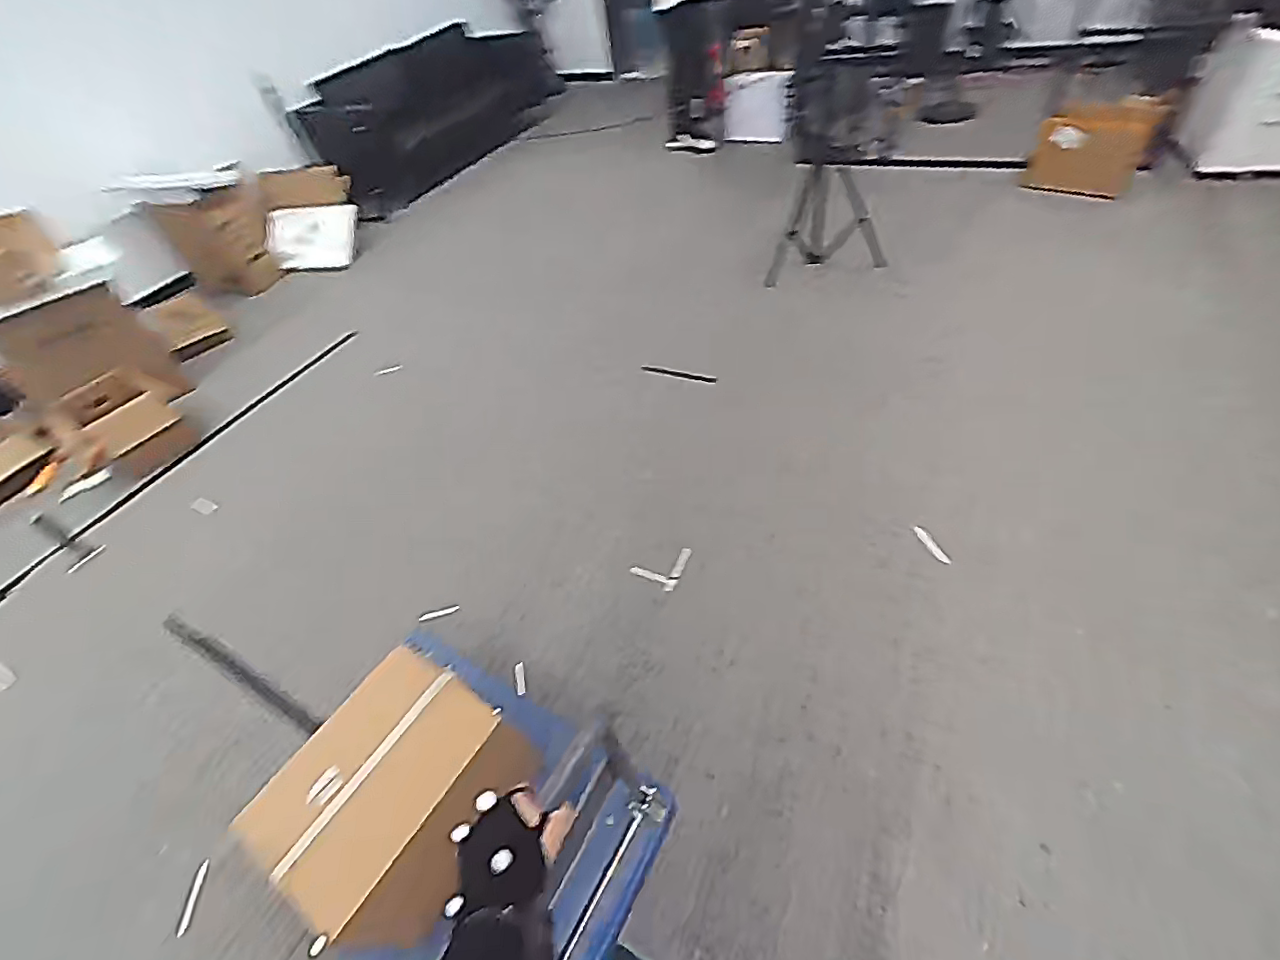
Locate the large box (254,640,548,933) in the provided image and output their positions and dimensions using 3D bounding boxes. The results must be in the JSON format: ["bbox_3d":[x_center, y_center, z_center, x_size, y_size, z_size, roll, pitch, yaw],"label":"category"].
[{"bbox_3d":[-0.461,0.629,1.135,0.320,0.320,0.408,22,57,28],"label":"large box"}]
